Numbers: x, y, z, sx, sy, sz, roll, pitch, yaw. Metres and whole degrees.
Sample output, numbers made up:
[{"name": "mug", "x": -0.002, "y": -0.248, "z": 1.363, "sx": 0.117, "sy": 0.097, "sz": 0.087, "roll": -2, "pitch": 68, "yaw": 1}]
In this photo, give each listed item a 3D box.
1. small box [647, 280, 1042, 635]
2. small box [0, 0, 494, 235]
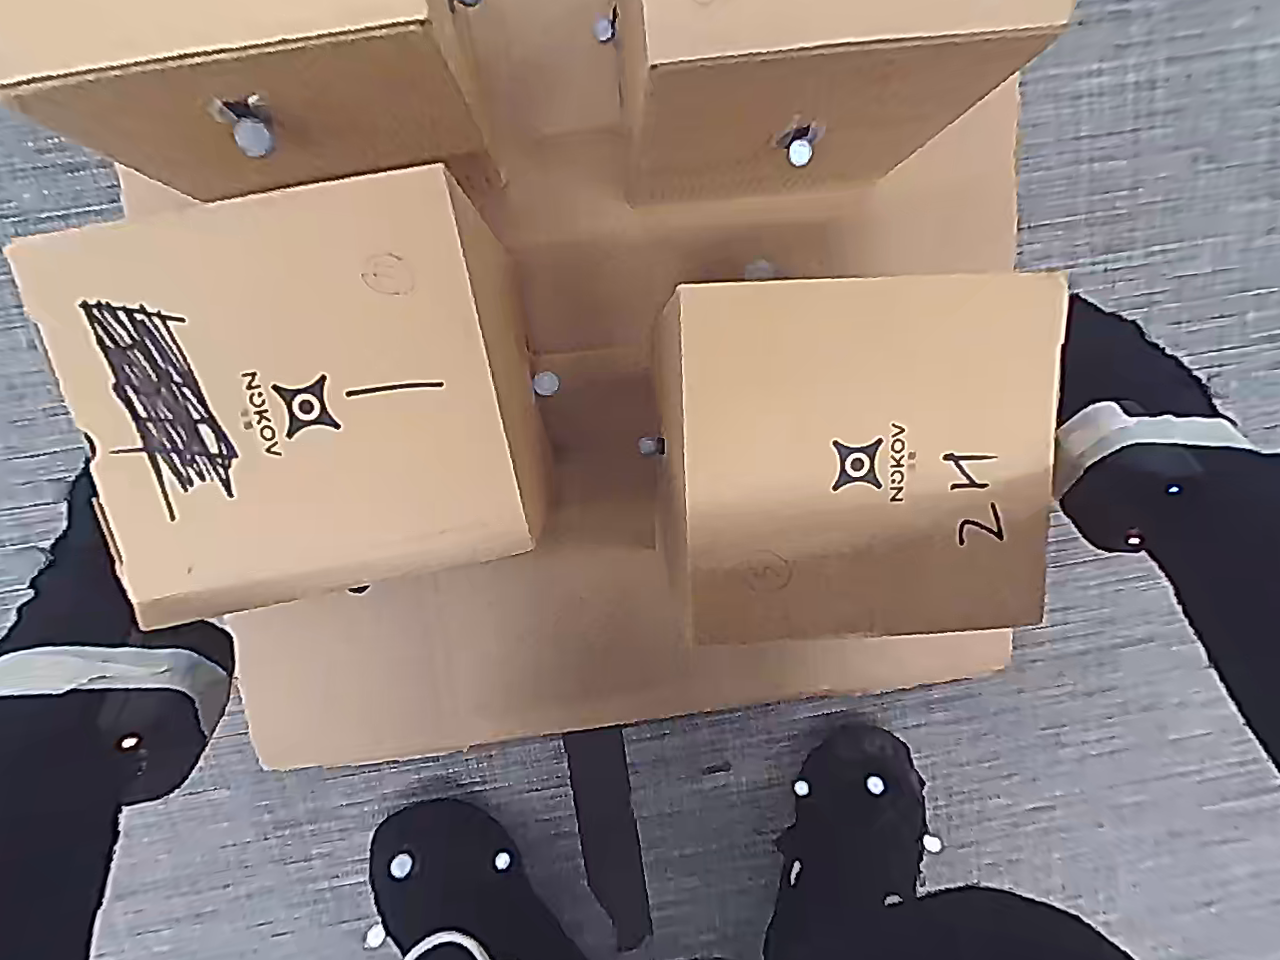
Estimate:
[{"name": "small box", "x": 0.095, "y": -0.019, "z": 0.332, "sx": 0.179, "sy": 0.176, "sz": 0.168, "roll": -3, "pitch": 99, "yaw": -3}, {"name": "small box", "x": -0.185, "y": -0.247, "z": 0.282, "sx": 0.179, "sy": 0.176, "sz": 0.168, "roll": -10, "pitch": 99, "yaw": -1}]
